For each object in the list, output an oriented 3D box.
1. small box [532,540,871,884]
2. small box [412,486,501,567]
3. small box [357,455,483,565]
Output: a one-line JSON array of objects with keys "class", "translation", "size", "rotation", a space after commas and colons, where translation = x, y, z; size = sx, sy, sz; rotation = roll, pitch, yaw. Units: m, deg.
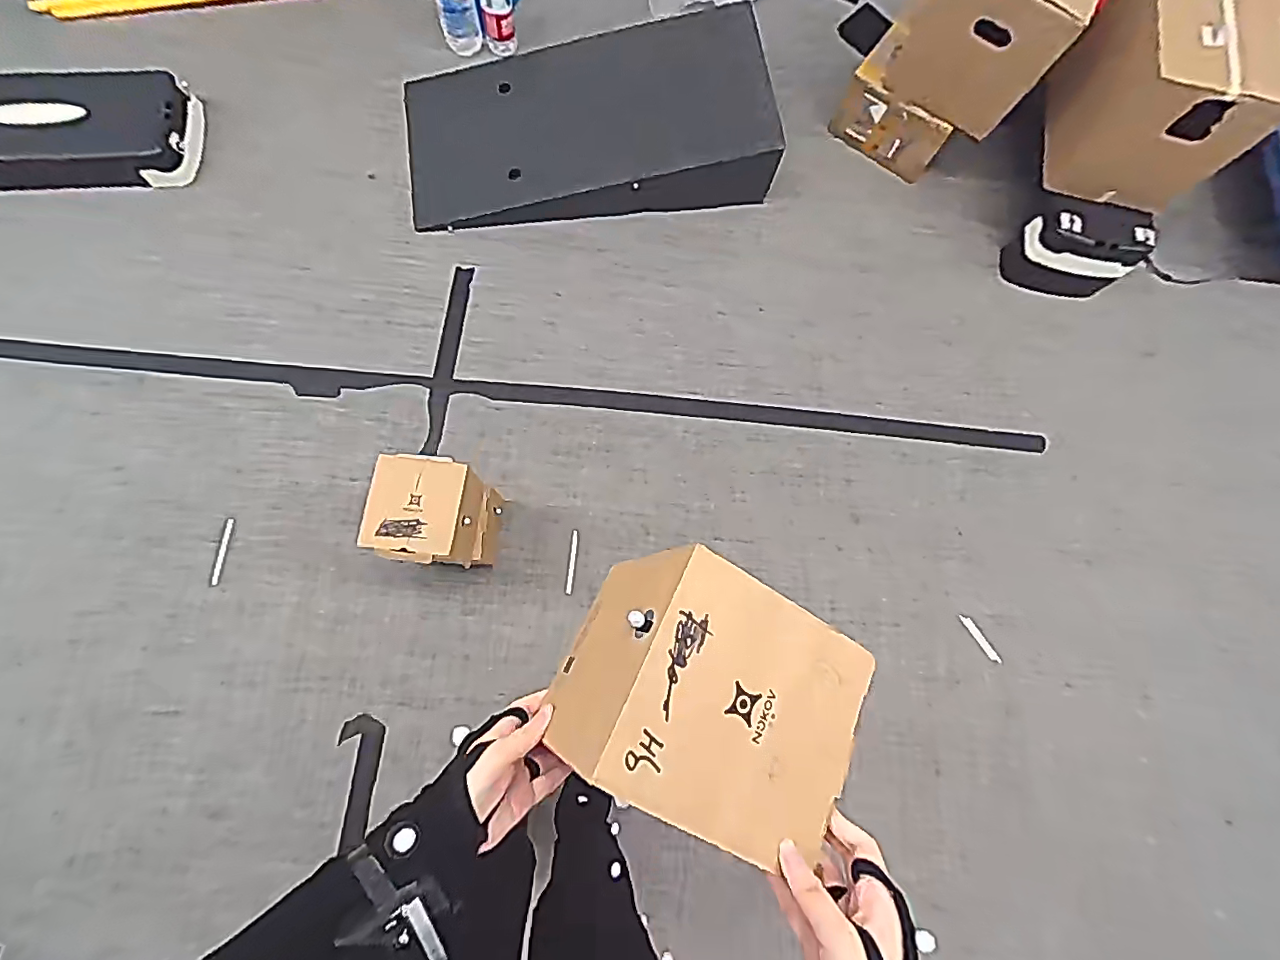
[{"class": "small box", "translation": [0.041, 0.168, 0.432], "size": [0.179, 0.176, 0.168], "rotation": [35, 64, -13]}, {"class": "small box", "translation": [-0.416, 0.102, 1.208], "size": [0.179, 0.176, 0.168], "rotation": [5, 76, -3]}, {"class": "small box", "translation": [-0.414, 0.066, 1.048], "size": [0.168, 0.176, 0.179], "rotation": [8, 75, -3]}]
